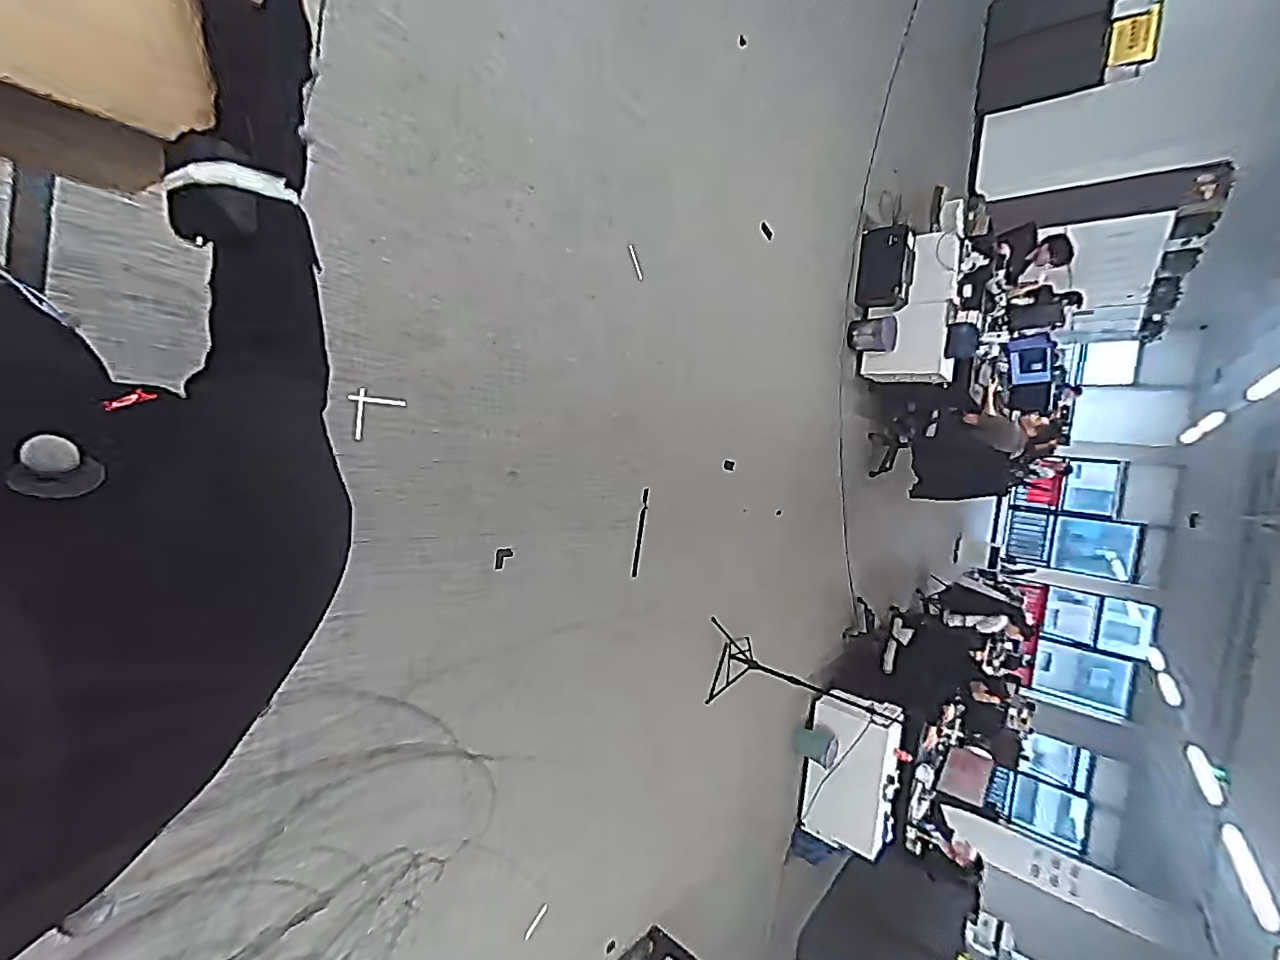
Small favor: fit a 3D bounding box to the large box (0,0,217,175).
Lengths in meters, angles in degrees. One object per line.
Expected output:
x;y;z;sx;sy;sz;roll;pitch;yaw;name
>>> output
-0.548;-0.439;0.329;0.408;0.320;0.320;-2;106;-52;large box
